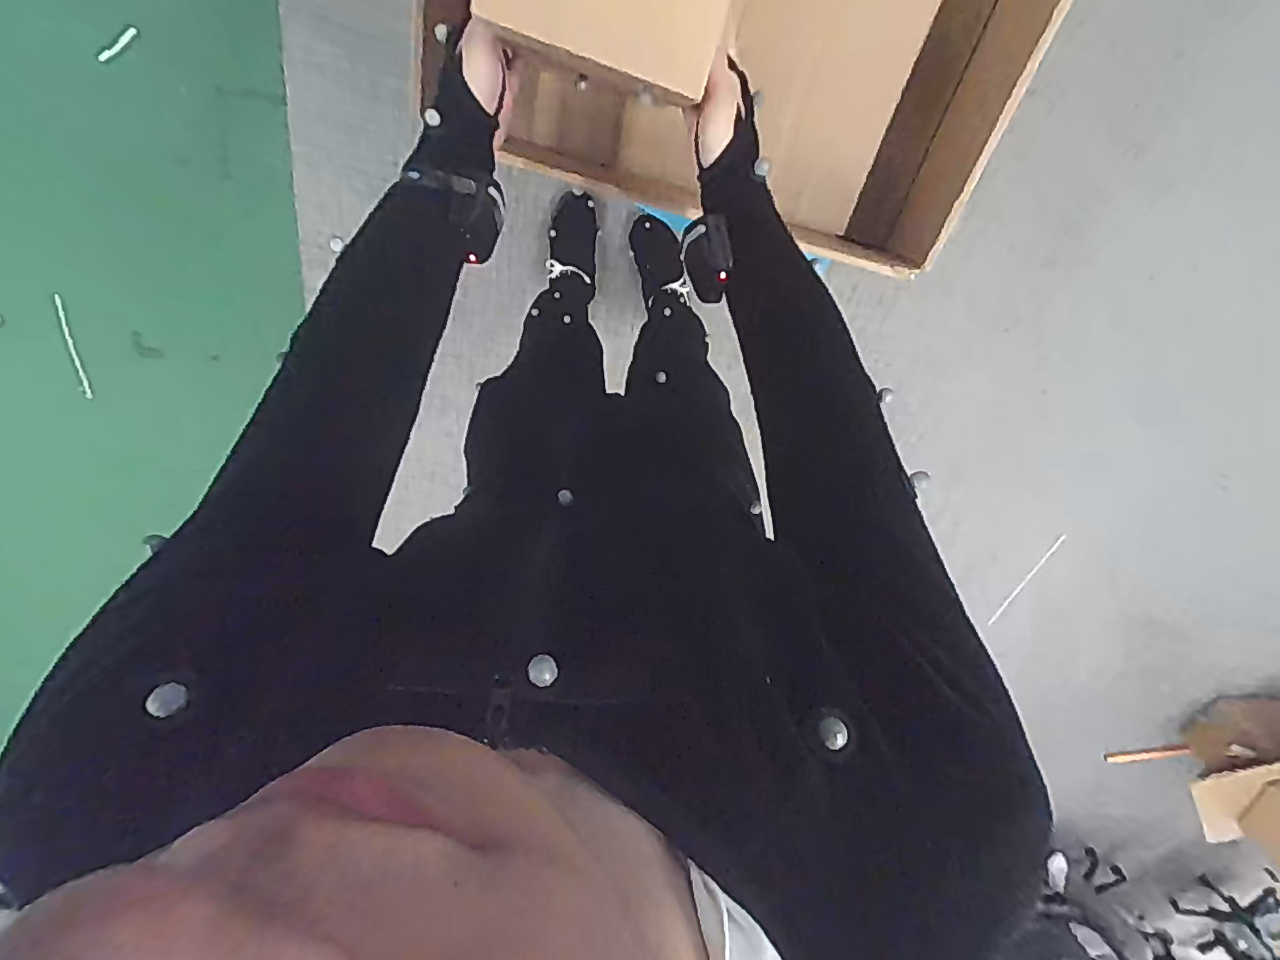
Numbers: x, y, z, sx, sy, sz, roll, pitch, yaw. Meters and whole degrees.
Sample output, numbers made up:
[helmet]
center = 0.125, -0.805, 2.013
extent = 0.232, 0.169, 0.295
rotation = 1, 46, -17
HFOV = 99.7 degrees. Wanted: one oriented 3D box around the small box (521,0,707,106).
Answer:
[small box]
center = -0.017, -0.510, 0.552
extent = 0.168, 0.176, 0.179
rotation = 11, 121, -8
